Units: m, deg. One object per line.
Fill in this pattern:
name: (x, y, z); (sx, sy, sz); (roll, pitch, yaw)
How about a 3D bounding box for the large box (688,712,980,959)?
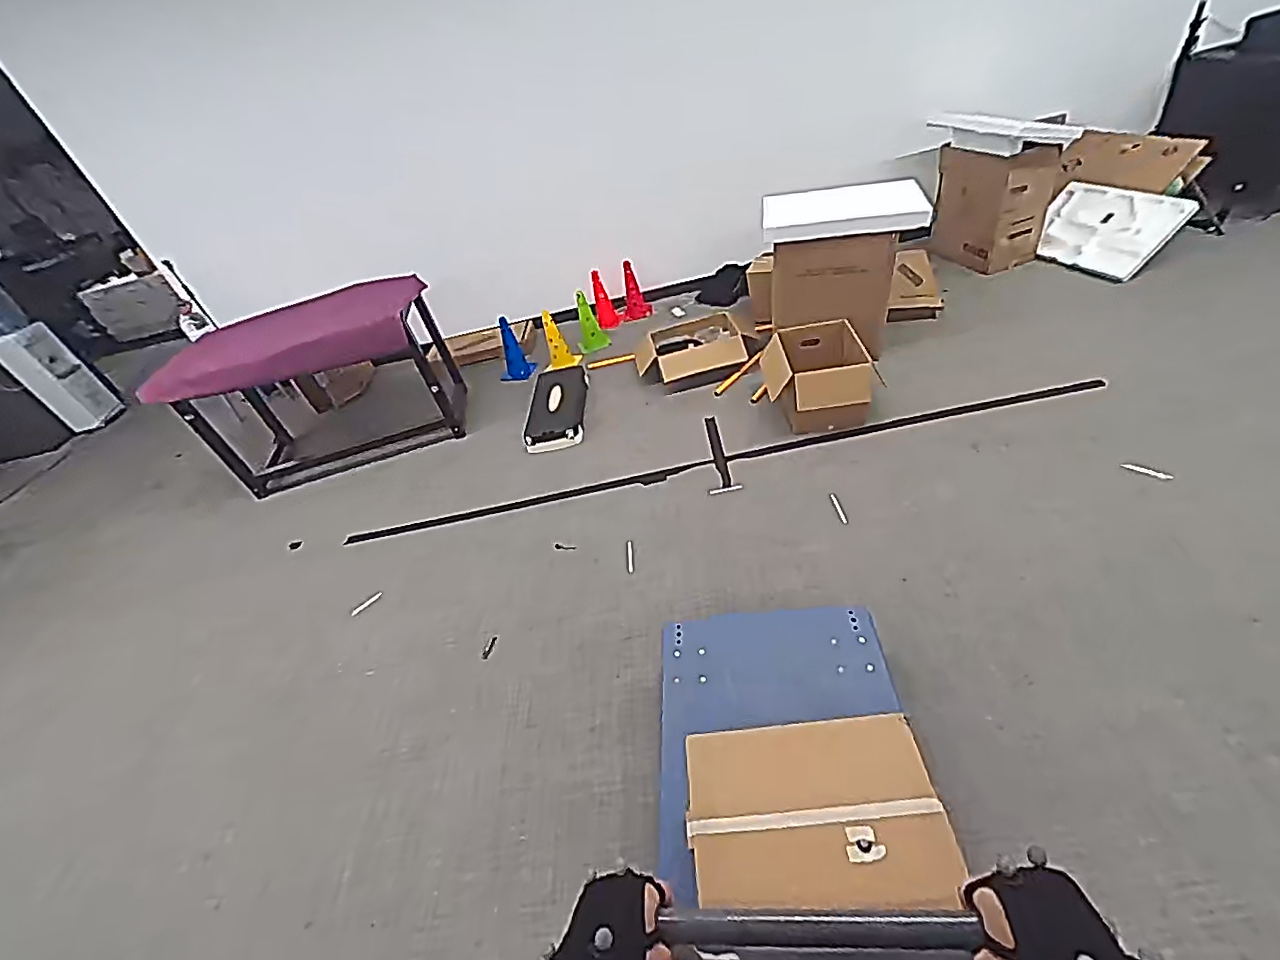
large box: (0.317, 0.671, 0.998); (0.408, 0.320, 0.320); (-9, 40, 6)
